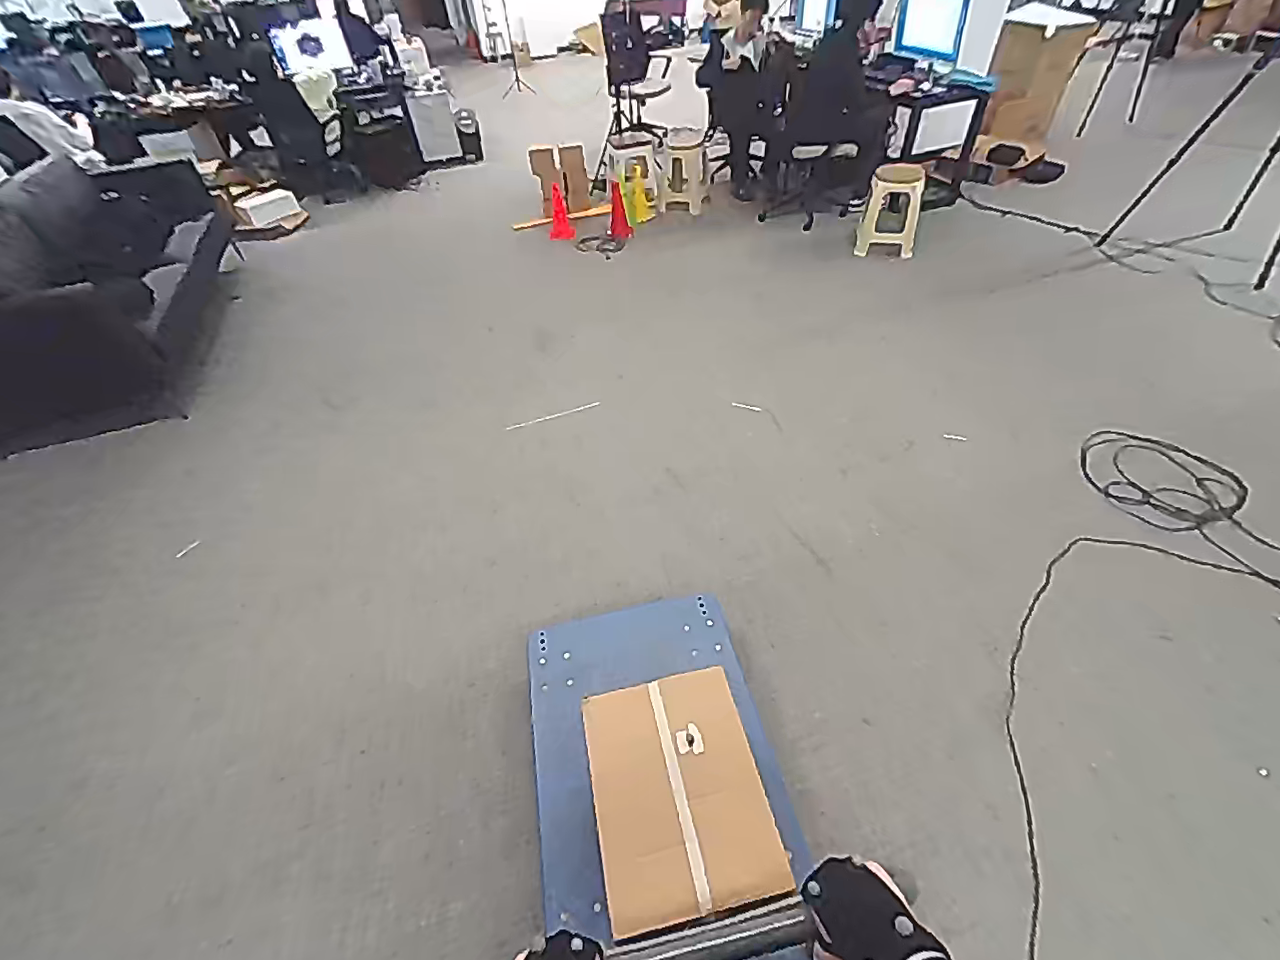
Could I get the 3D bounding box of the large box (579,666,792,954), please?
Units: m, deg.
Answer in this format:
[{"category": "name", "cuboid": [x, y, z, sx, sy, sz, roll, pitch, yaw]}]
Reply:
[{"category": "large box", "cuboid": [0.077, 0.675, 1.129, 0.320, 0.320, 0.408, -12, 44, -7]}]
